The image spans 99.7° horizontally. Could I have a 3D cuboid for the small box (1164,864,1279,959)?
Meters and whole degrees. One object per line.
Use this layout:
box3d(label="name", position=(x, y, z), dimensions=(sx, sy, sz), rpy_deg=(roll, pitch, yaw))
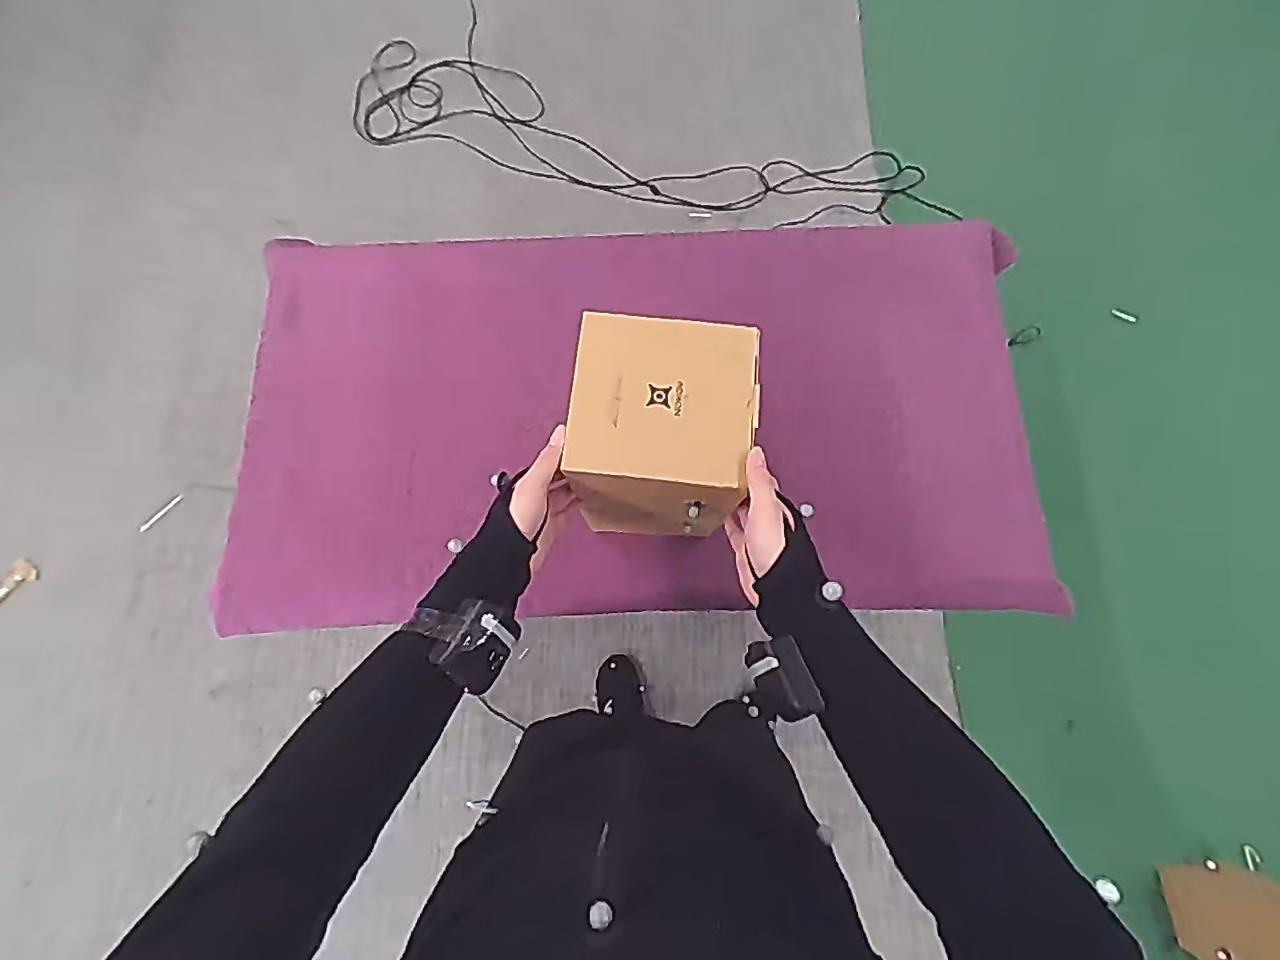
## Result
box3d(label="small box", position=(1.338, 0.992, 1.199), dimensions=(0.168, 0.176, 0.179), rpy_deg=(-4, 75, 0))
